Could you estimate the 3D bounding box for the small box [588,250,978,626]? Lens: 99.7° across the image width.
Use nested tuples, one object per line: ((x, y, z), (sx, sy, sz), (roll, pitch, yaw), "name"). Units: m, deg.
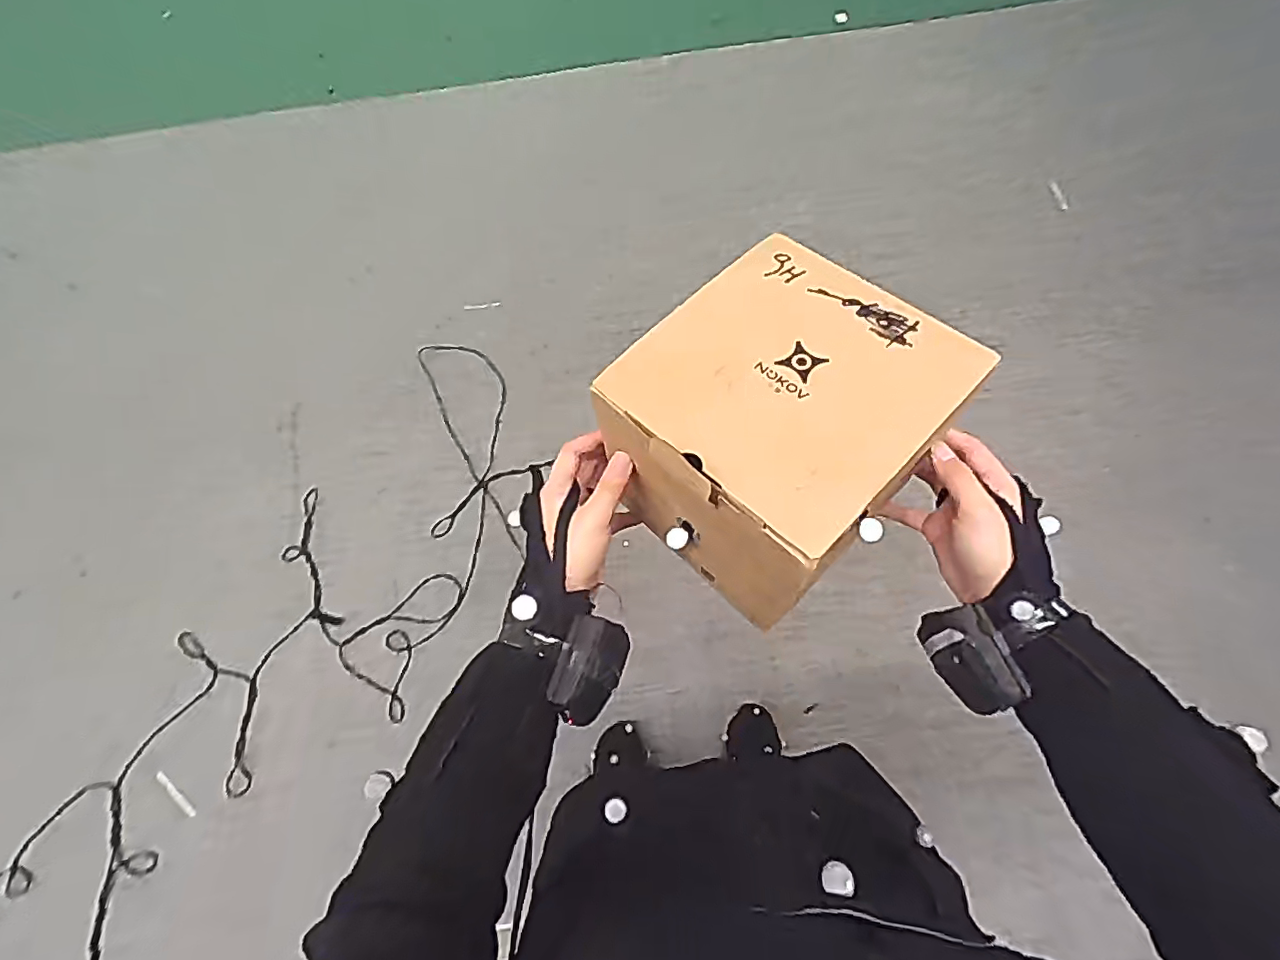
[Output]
((0.091, -0.020, 0.395), (0.179, 0.176, 0.168), (-43, 68, -15), "small box")
